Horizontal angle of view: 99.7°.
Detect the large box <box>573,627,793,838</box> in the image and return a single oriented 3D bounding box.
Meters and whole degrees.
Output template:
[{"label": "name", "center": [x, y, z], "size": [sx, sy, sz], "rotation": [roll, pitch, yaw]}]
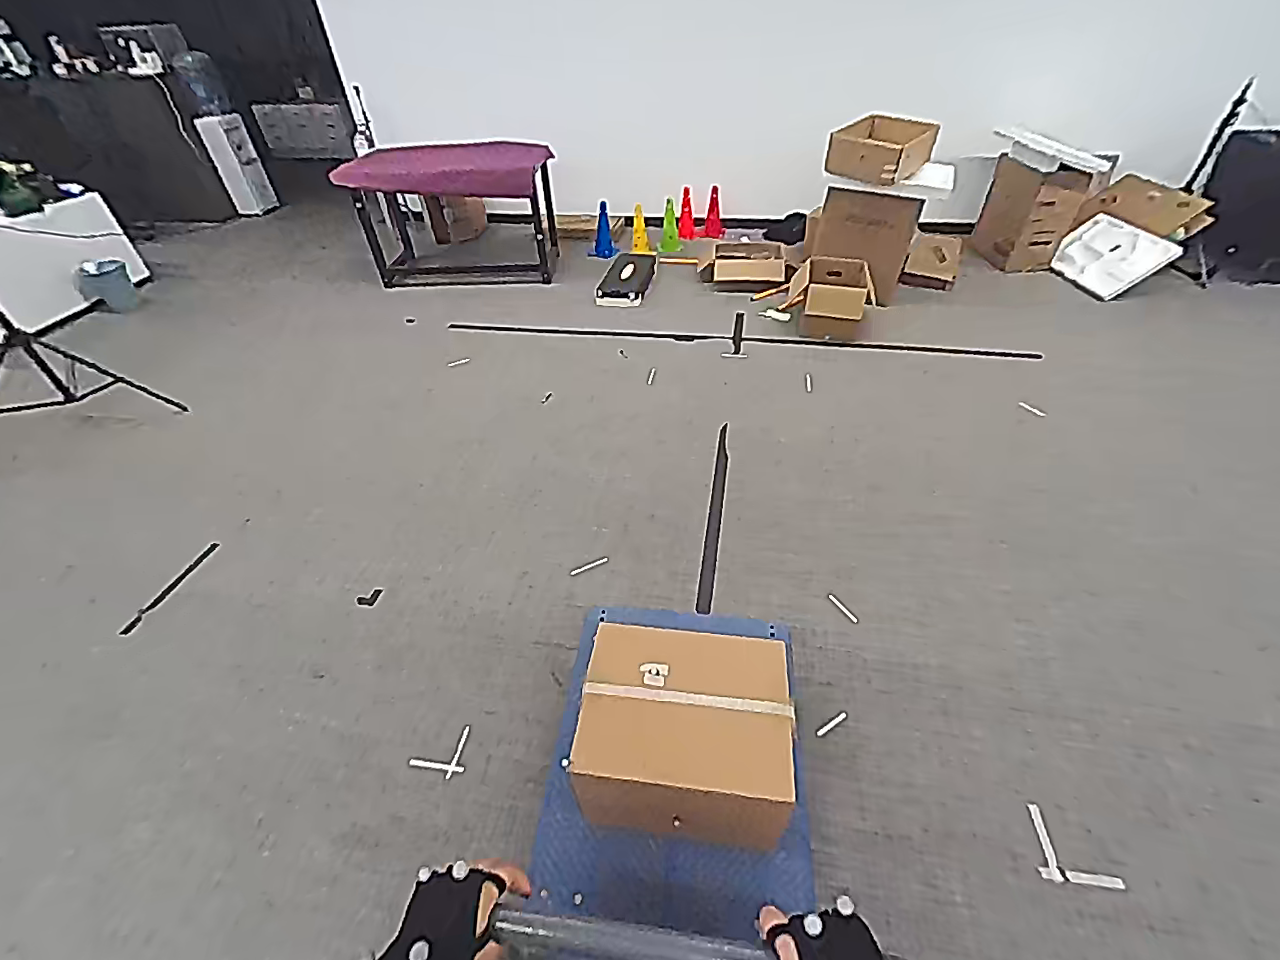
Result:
[{"label": "large box", "center": [0.099, 0.549, 1.181], "size": [0.408, 0.320, 0.320], "rotation": [3, 42, 7]}]
